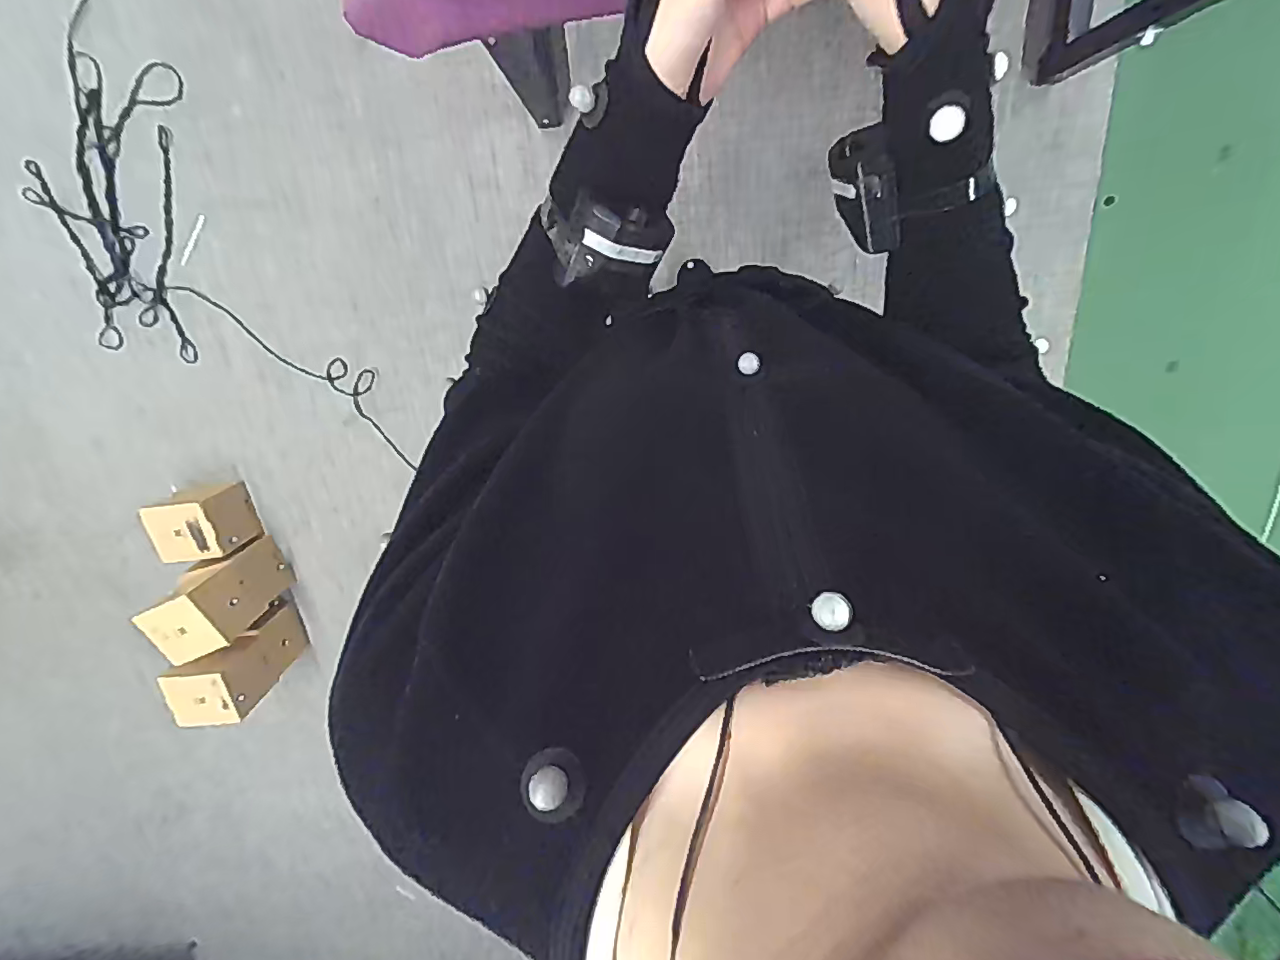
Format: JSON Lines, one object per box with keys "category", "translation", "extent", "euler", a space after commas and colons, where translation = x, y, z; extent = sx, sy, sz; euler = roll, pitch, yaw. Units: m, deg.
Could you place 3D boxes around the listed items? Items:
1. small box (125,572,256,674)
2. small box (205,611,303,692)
{"category": "small box", "translation": [-1.155, 0.366, 1.414], "extent": [0.179, 0.176, 0.168], "euler": [-22, 108, 9]}
{"category": "small box", "translation": [-1.166, 0.511, 1.636], "extent": [0.168, 0.176, 0.179], "euler": [-6, 110, 3]}
